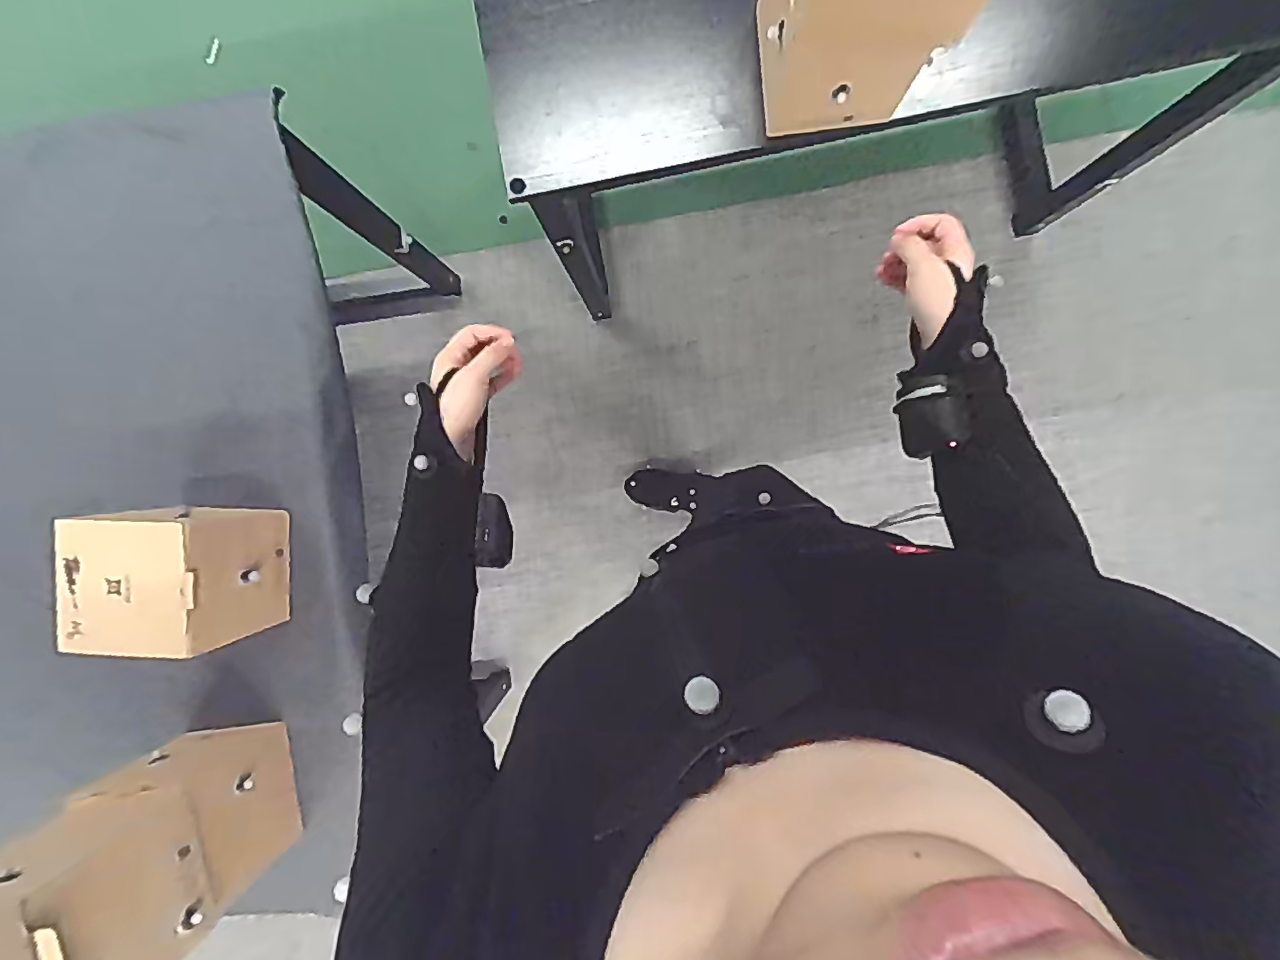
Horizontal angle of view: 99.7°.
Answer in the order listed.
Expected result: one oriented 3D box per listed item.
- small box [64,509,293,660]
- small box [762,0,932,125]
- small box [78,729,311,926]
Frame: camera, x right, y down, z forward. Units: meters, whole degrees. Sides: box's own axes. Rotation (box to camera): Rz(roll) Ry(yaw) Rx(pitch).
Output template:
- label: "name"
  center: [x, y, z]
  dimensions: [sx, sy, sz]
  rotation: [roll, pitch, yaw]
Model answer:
- label: "small box"
  center: [-0.601, 0.128, 0.727]
  dimensions: [0.179, 0.176, 0.168]
  rotation: [1, 92, 5]
- label: "small box"
  center: [0.246, -0.559, 0.647]
  dimensions: [0.168, 0.176, 0.179]
  rotation: [-5, 91, 3]
- label: "small box"
  center: [-0.590, 0.461, 0.738]
  dimensions: [0.168, 0.176, 0.179]
  rotation: [-9, 92, 6]
